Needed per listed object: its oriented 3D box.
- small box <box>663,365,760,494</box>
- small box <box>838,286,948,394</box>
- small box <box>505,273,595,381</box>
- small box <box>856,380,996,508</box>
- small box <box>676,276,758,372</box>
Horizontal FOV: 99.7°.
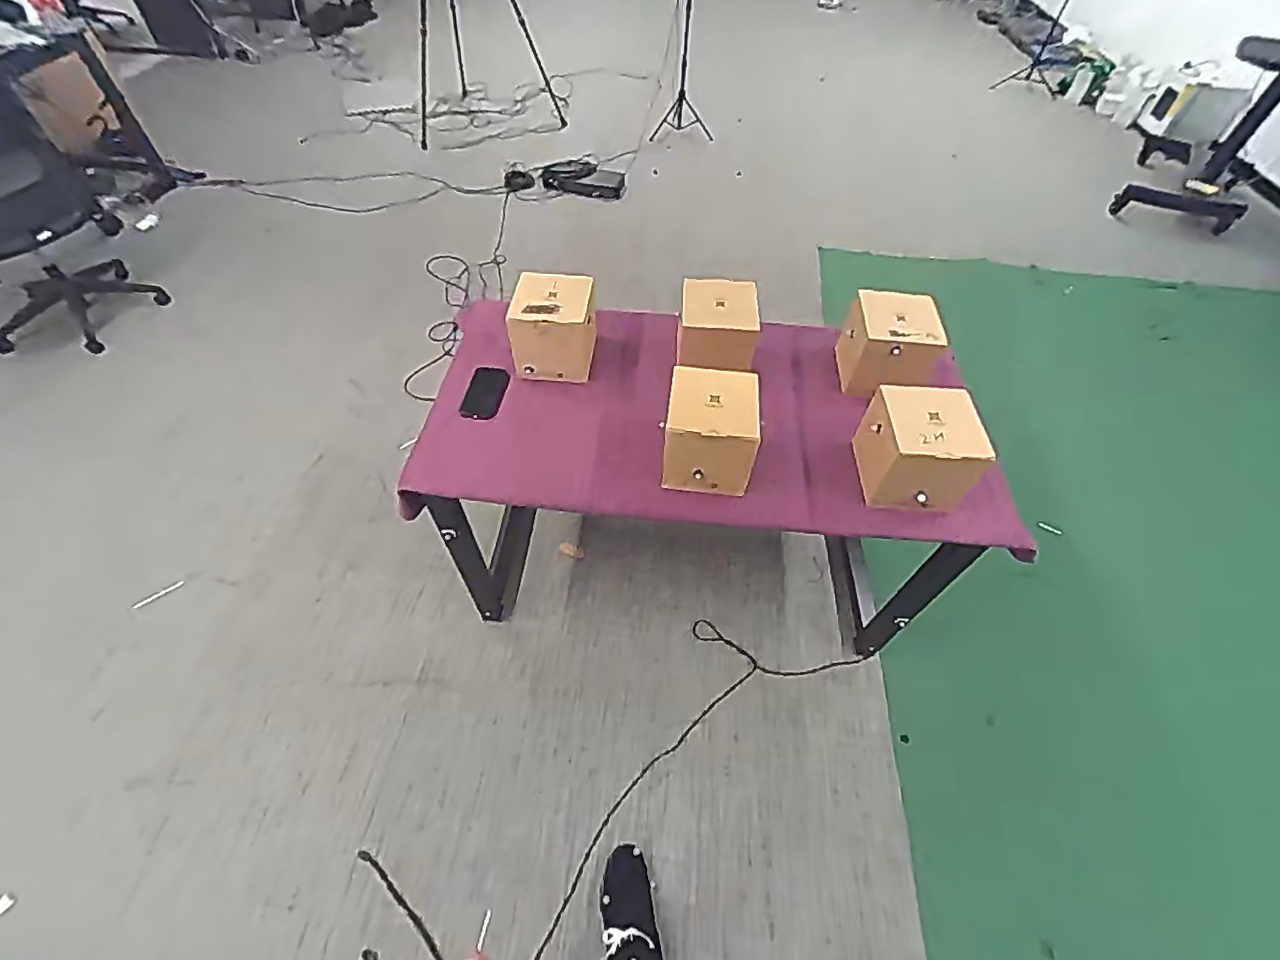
[{"bbox_3d":[0.135,-0.098,1.056,0.168,0.176,0.179,6,53,3],"label":"small box"},{"bbox_3d":[0.559,-0.312,1.223,0.168,0.176,0.179,5,53,4],"label":"small box"},{"bbox_3d":[-0.194,-0.346,1.234,0.168,0.176,0.179,4,53,1],"label":"small box"},{"bbox_3d":[0.531,-0.067,1.035,0.168,0.176,0.179,3,54,3],"label":"small box"},{"bbox_3d":[0.171,-0.340,1.240,0.168,0.176,0.179,3,54,2],"label":"small box"}]
